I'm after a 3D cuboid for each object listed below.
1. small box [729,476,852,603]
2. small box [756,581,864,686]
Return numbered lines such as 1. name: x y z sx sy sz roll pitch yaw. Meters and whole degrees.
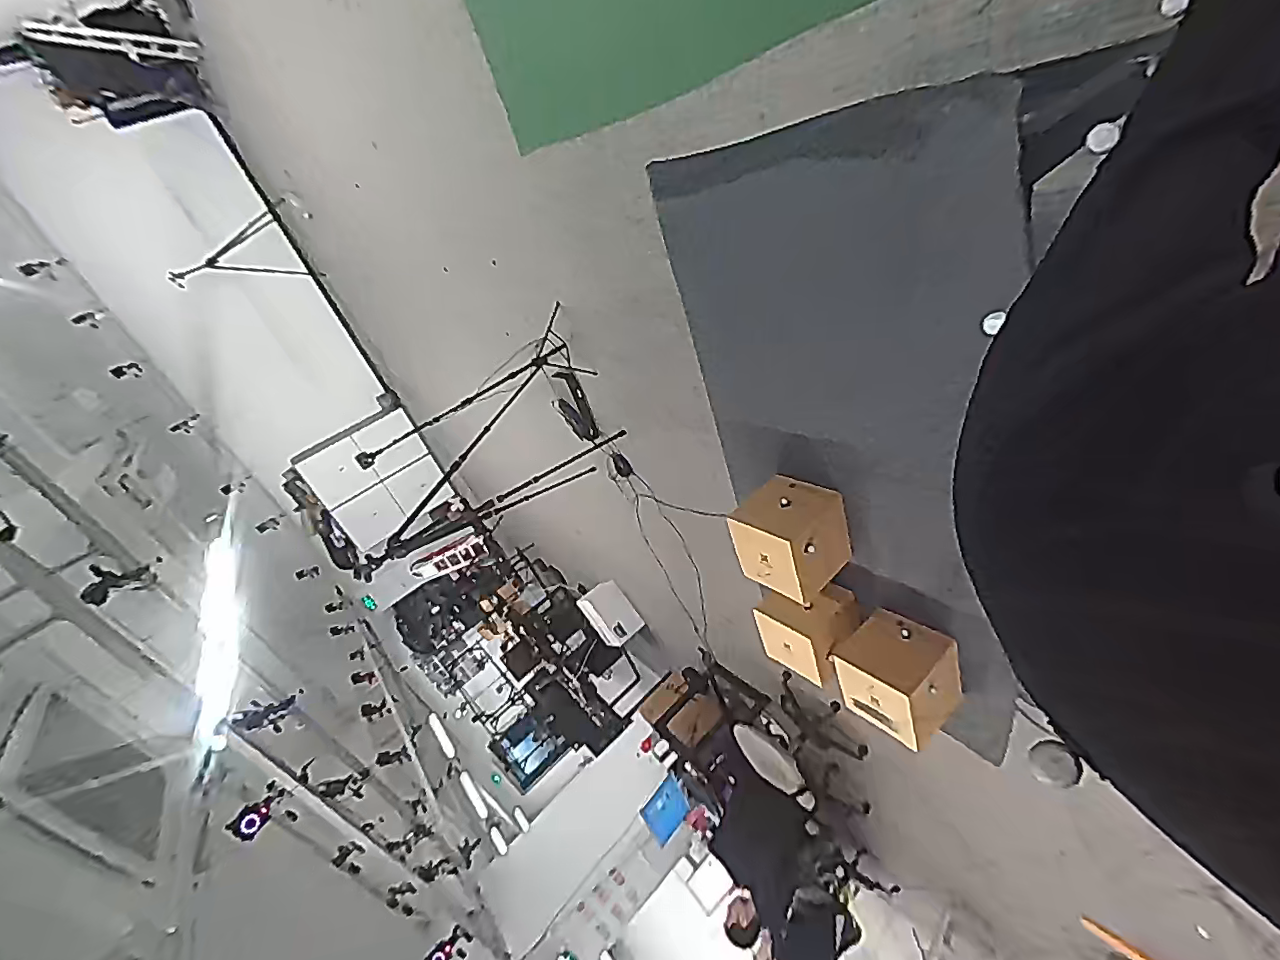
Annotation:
1. small box: 0.319 0.116 1.133 0.168 0.176 0.179 22 142 50
2. small box: 0.408 0.341 1.287 0.168 0.176 0.179 21 142 50
